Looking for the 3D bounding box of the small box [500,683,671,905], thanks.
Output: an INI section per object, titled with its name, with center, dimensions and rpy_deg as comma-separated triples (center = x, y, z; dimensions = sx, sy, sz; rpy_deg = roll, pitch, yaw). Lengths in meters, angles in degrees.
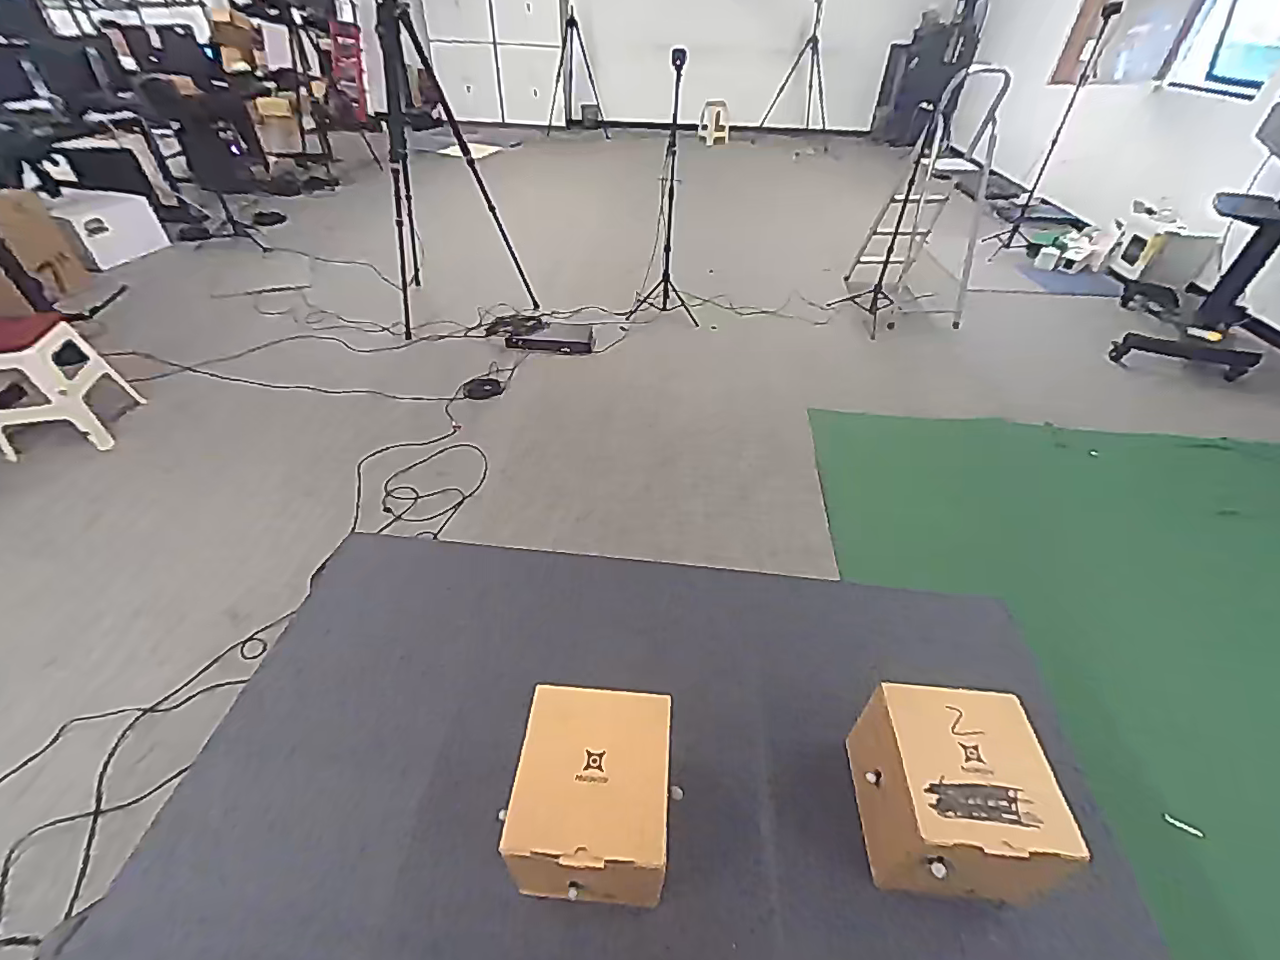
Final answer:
[small box]
center = -0.055, 0.369, 0.641
dimensions = 0.168, 0.176, 0.179
rpy_deg = 5, 42, 2
